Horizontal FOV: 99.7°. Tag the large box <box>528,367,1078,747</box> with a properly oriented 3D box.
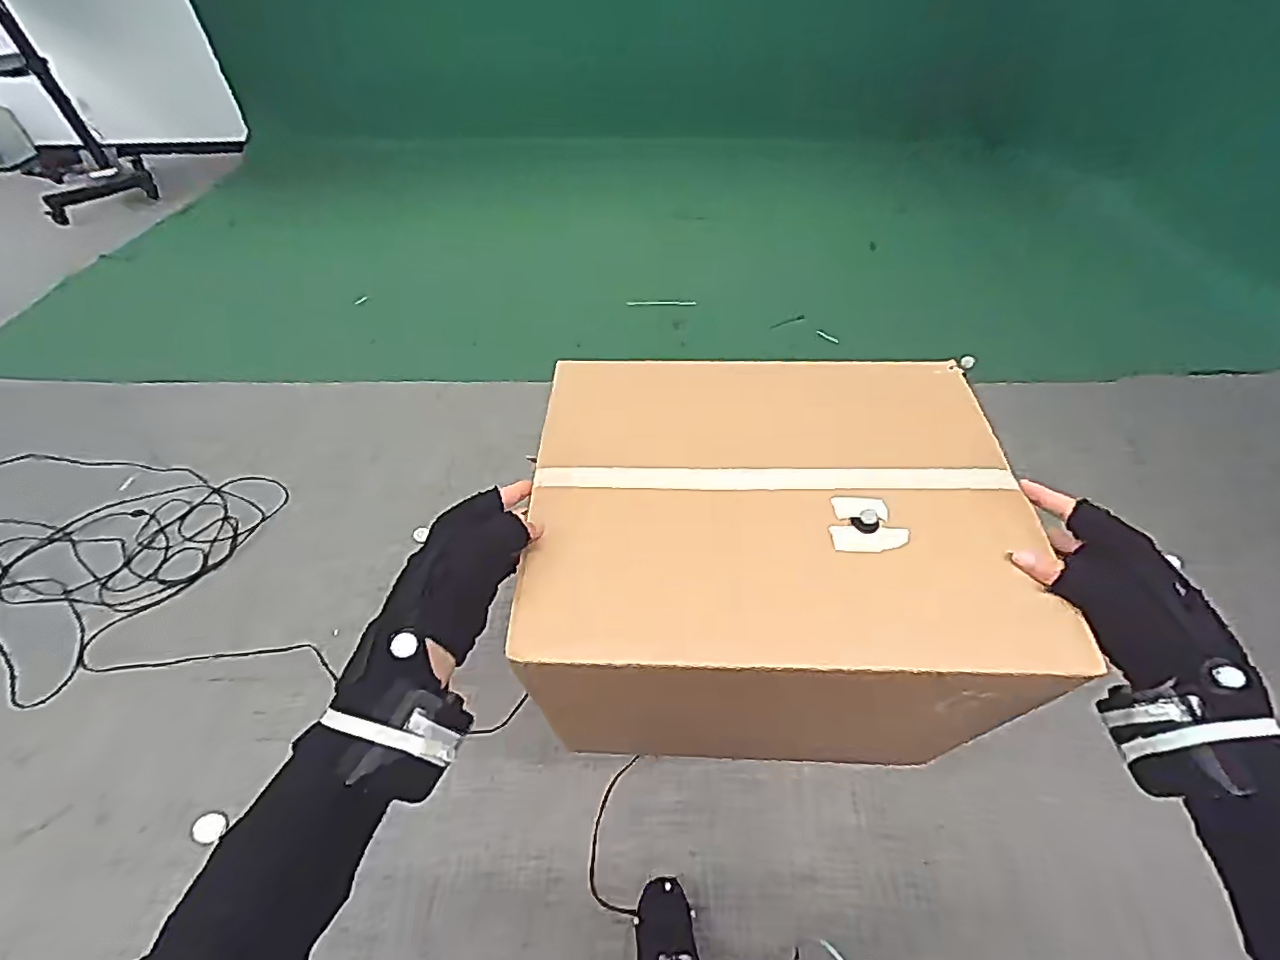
[{"bbox_3d":[0.117,0.093,0.593,0.408,0.320,0.320,1,53,1],"label":"large box"}]
